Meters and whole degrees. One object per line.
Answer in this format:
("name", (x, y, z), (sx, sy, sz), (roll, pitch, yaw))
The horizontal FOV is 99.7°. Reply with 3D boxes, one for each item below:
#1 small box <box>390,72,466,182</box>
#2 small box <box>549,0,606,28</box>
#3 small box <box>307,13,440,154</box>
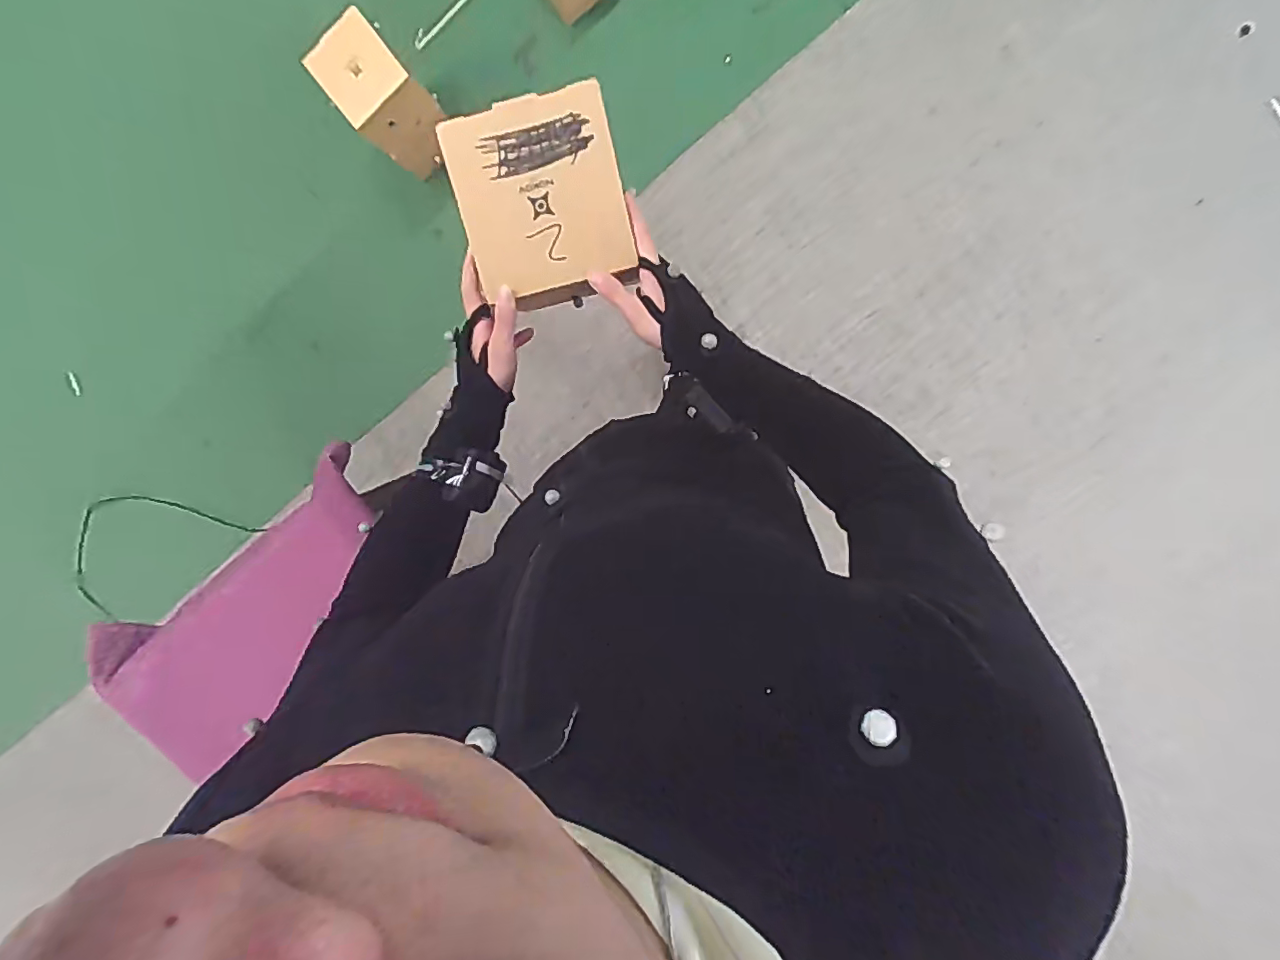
("small box", (-0.586, -0.914, 1.394), (0.168, 0.176, 0.179), (-38, 97, 10))
("small box", (-0.172, -1.260, 1.299), (0.168, 0.176, 0.179), (-36, 97, 9))
("small box", (-0.595, -0.884, 1.235), (0.168, 0.176, 0.179), (-38, 96, 11))
